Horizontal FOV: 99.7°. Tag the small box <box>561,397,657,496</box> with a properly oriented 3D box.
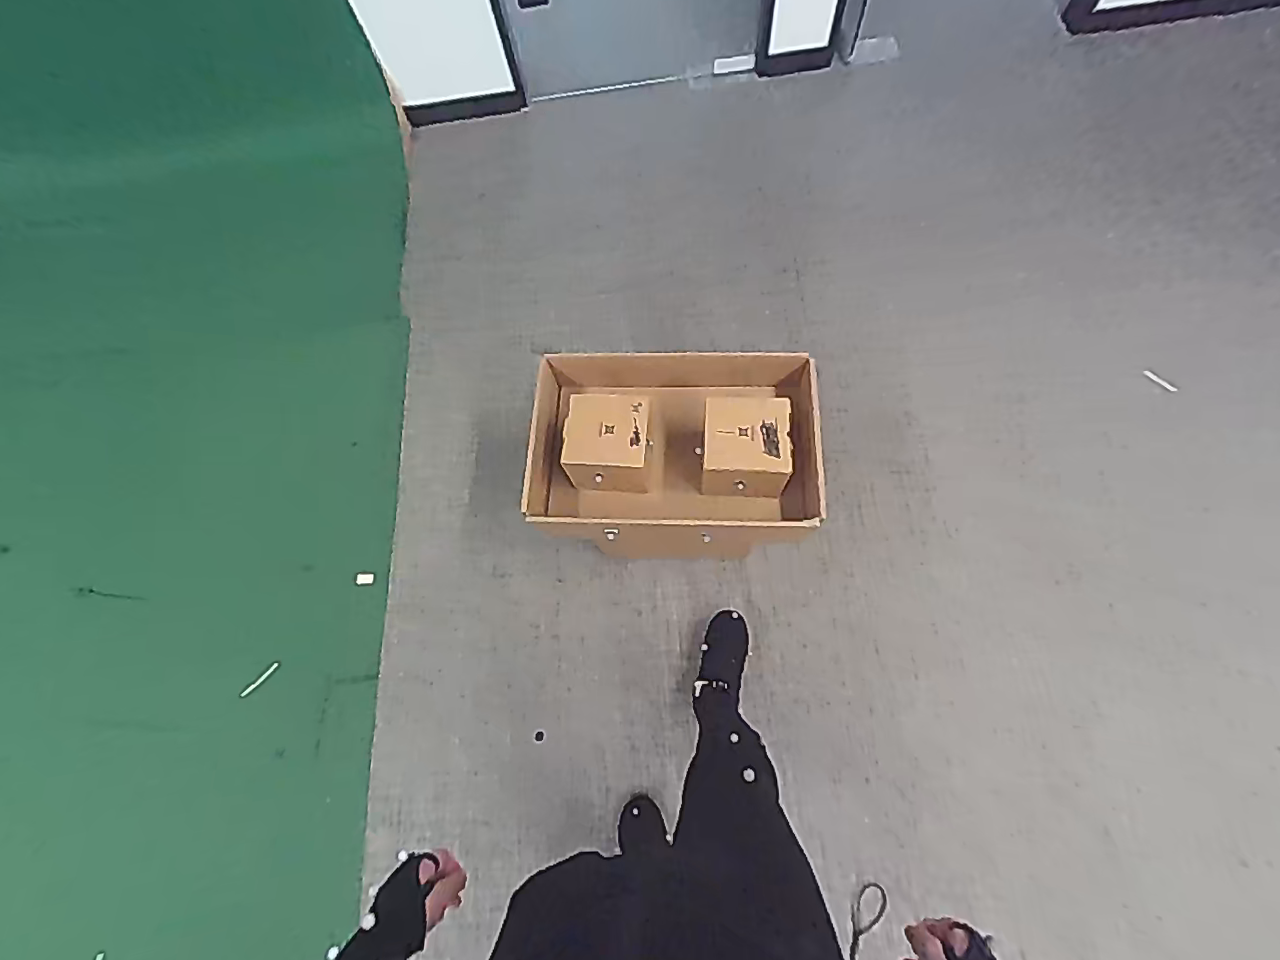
[{"bbox_3d":[-0.061,-0.070,1.208,0.179,0.176,0.168,3,70,8],"label":"small box"}]
